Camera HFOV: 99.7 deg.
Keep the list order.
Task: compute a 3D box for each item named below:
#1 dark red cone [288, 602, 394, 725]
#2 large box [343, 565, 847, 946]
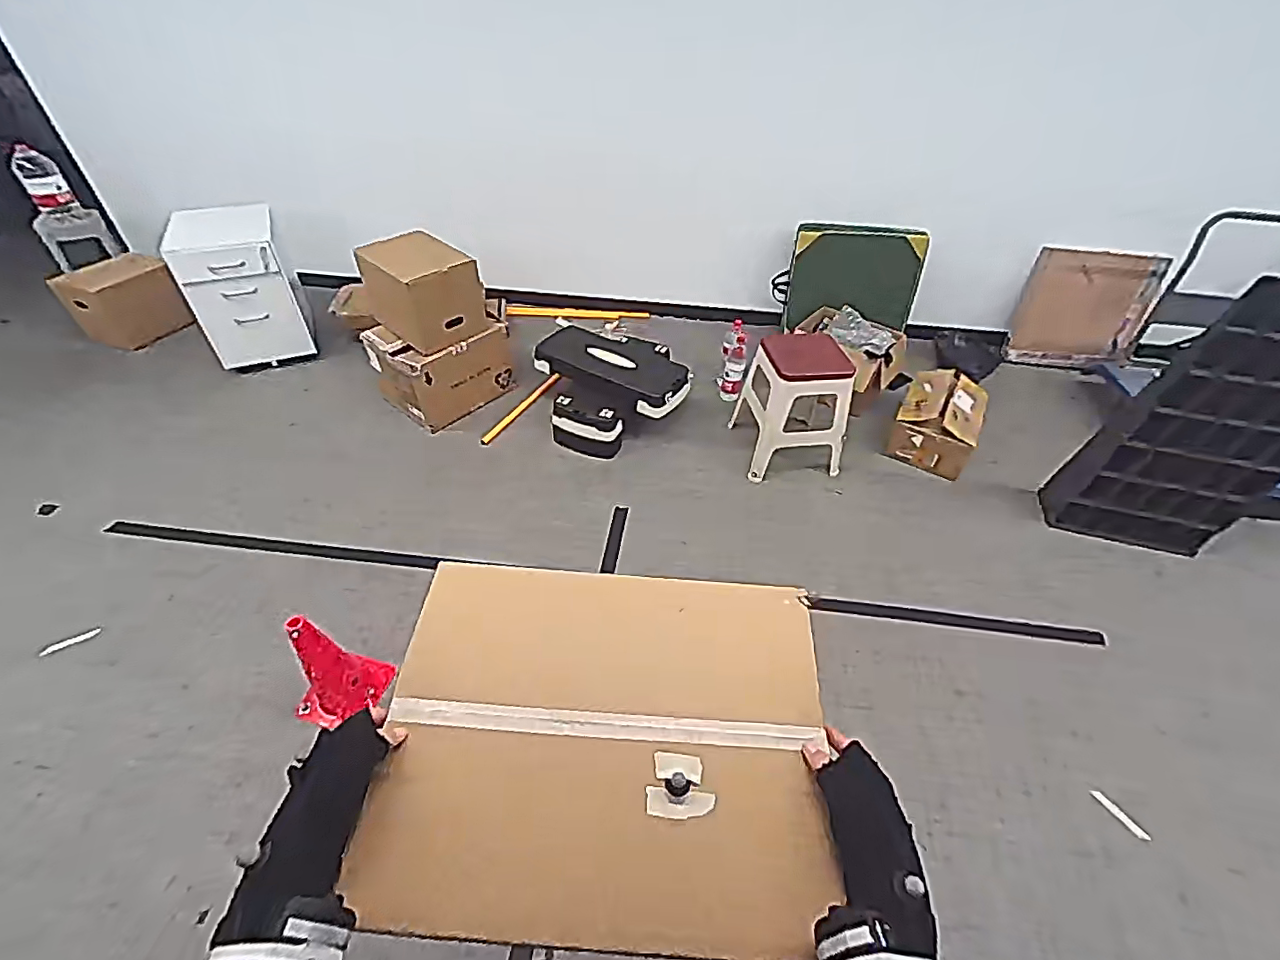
[{"bbox_3d":[-0.800,0.437,1.370,0.201,0.394,0.202,12,45,7],"label":"dark red cone"},{"bbox_3d":[-0.034,0.320,0.626,0.408,0.320,0.320,5,52,1],"label":"large box"}]
